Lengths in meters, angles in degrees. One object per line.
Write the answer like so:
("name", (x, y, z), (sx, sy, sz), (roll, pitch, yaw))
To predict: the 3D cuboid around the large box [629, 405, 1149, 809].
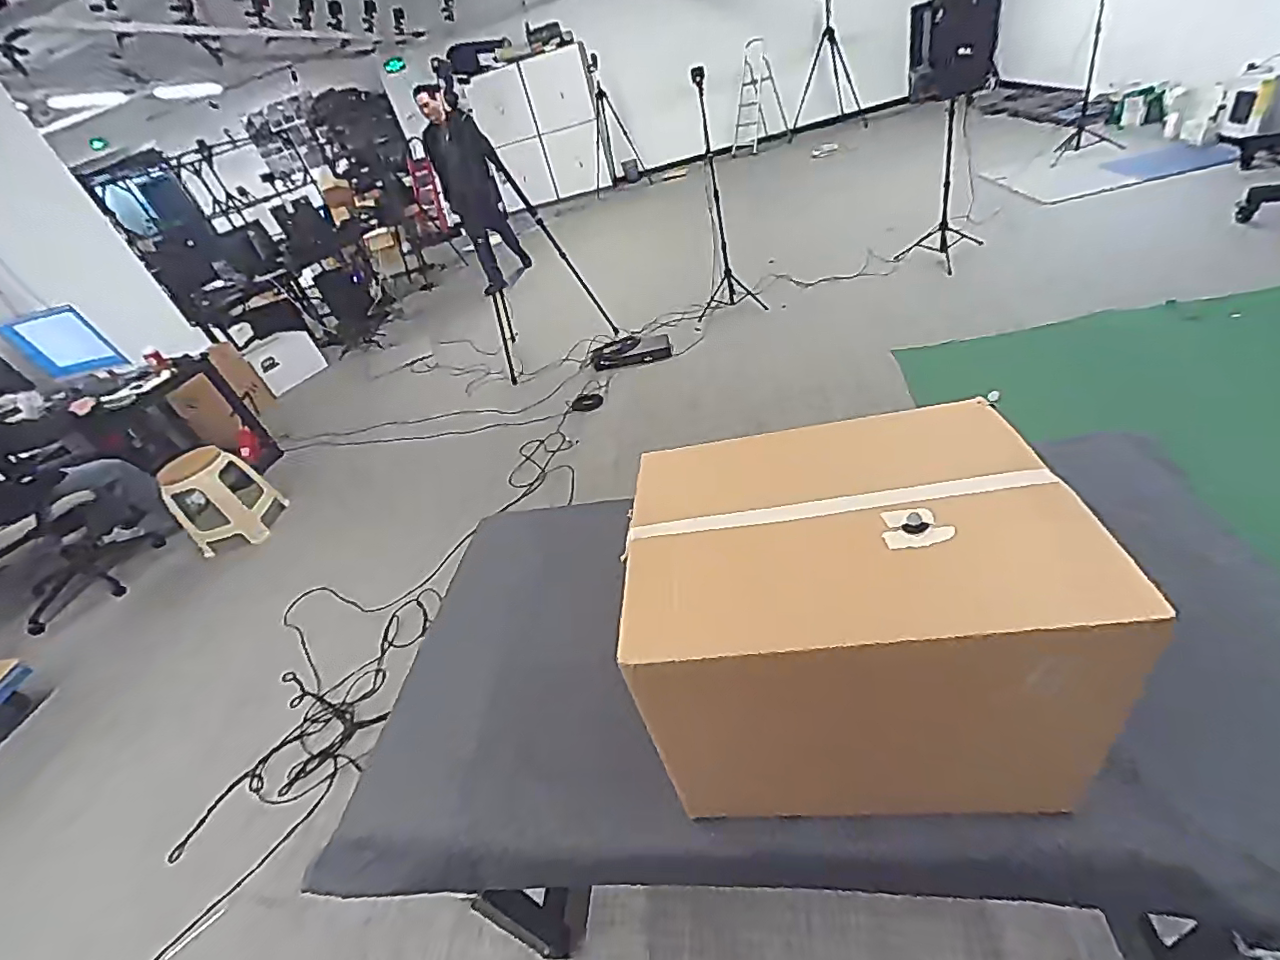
("large box", (0.222, 0.149, 0.631), (0.408, 0.320, 0.320), (-8, 37, 11))
